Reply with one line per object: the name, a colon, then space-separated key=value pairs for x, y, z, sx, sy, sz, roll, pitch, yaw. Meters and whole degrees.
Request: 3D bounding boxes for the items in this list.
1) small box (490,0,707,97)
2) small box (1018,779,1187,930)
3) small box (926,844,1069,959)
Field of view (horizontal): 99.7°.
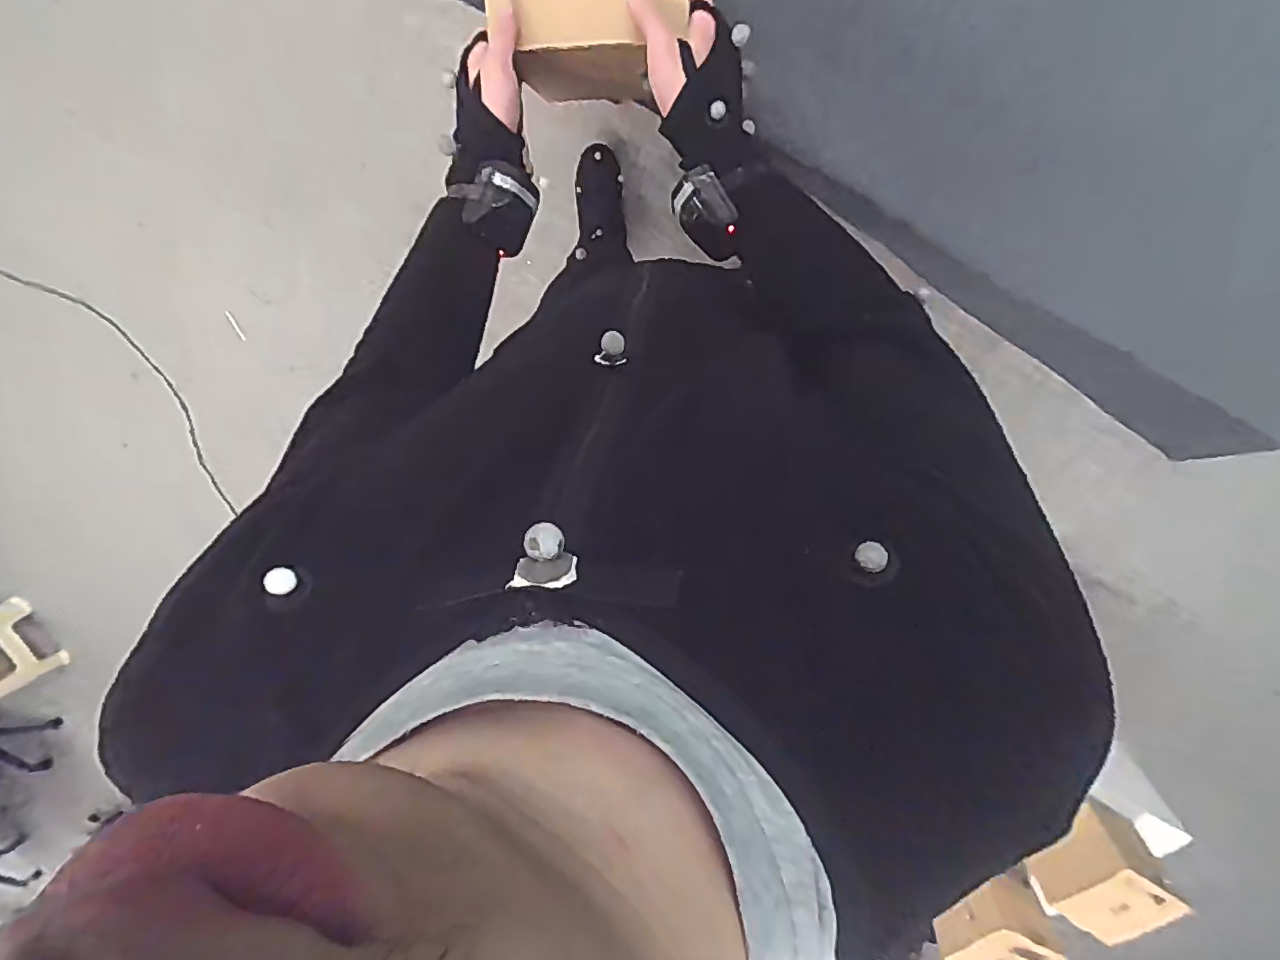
small box: x=-0.029 y=-0.466 z=0.482 sx=0.179 sy=0.176 sz=0.168 roll=1 pitch=111 yaw=6
small box: x=0.921 y=0.761 z=1.106 sx=0.168 sy=0.176 sz=0.179 roll=32 pitch=114 yaw=-9
small box: x=0.783 y=0.963 z=1.209 sx=0.168 sy=0.176 sz=0.179 roll=29 pitch=114 yaw=-6
